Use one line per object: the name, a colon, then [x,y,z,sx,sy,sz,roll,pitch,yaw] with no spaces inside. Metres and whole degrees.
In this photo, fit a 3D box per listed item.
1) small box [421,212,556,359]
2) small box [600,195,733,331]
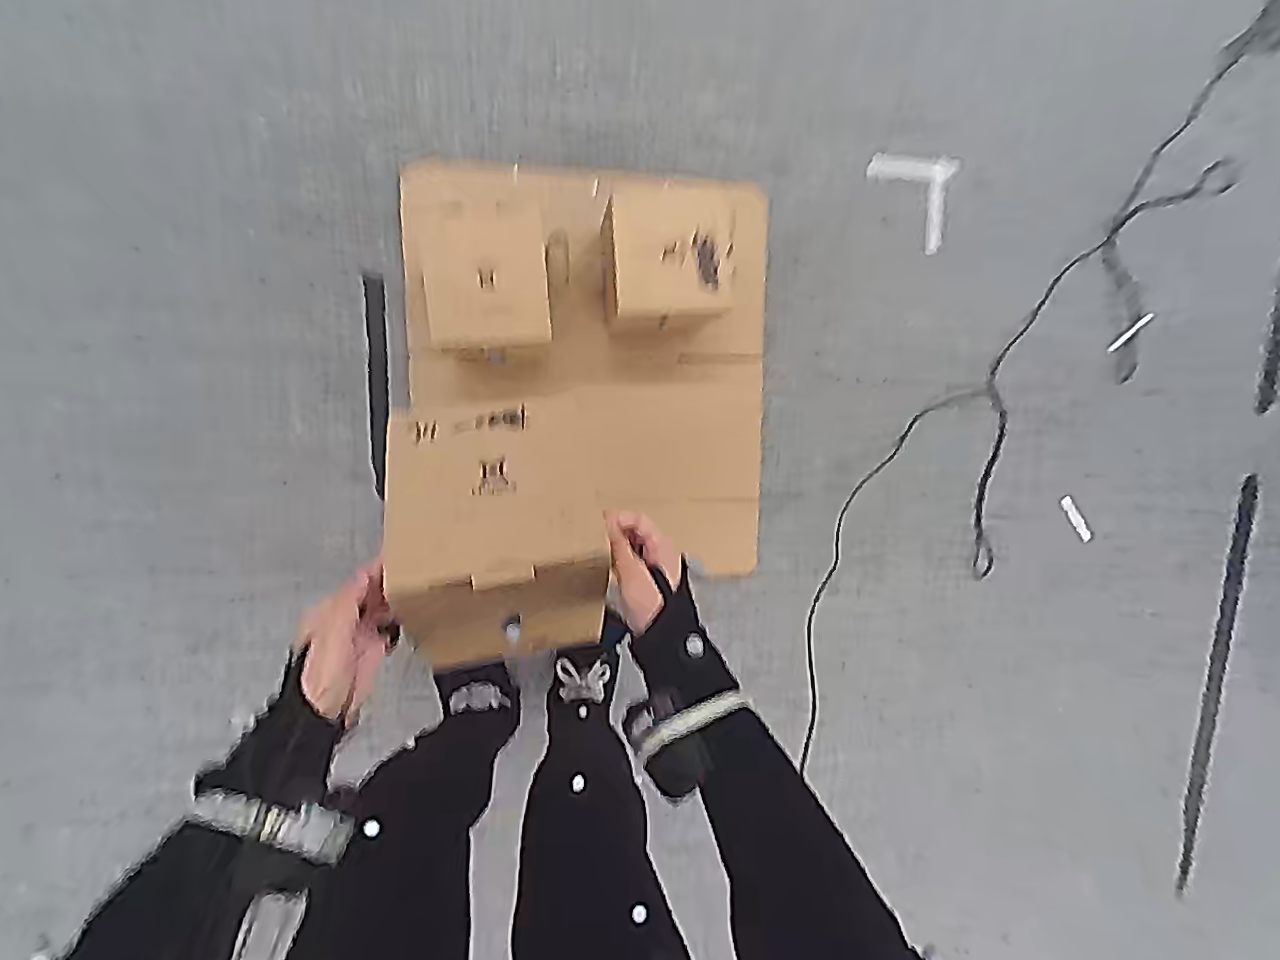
small box: [-0.218,-0.283,0.817,0.168,0.176,0.179,-6,99,-8]
small box: [0.035,-0.331,0.852,0.179,0.176,0.168,-5,98,-9]
